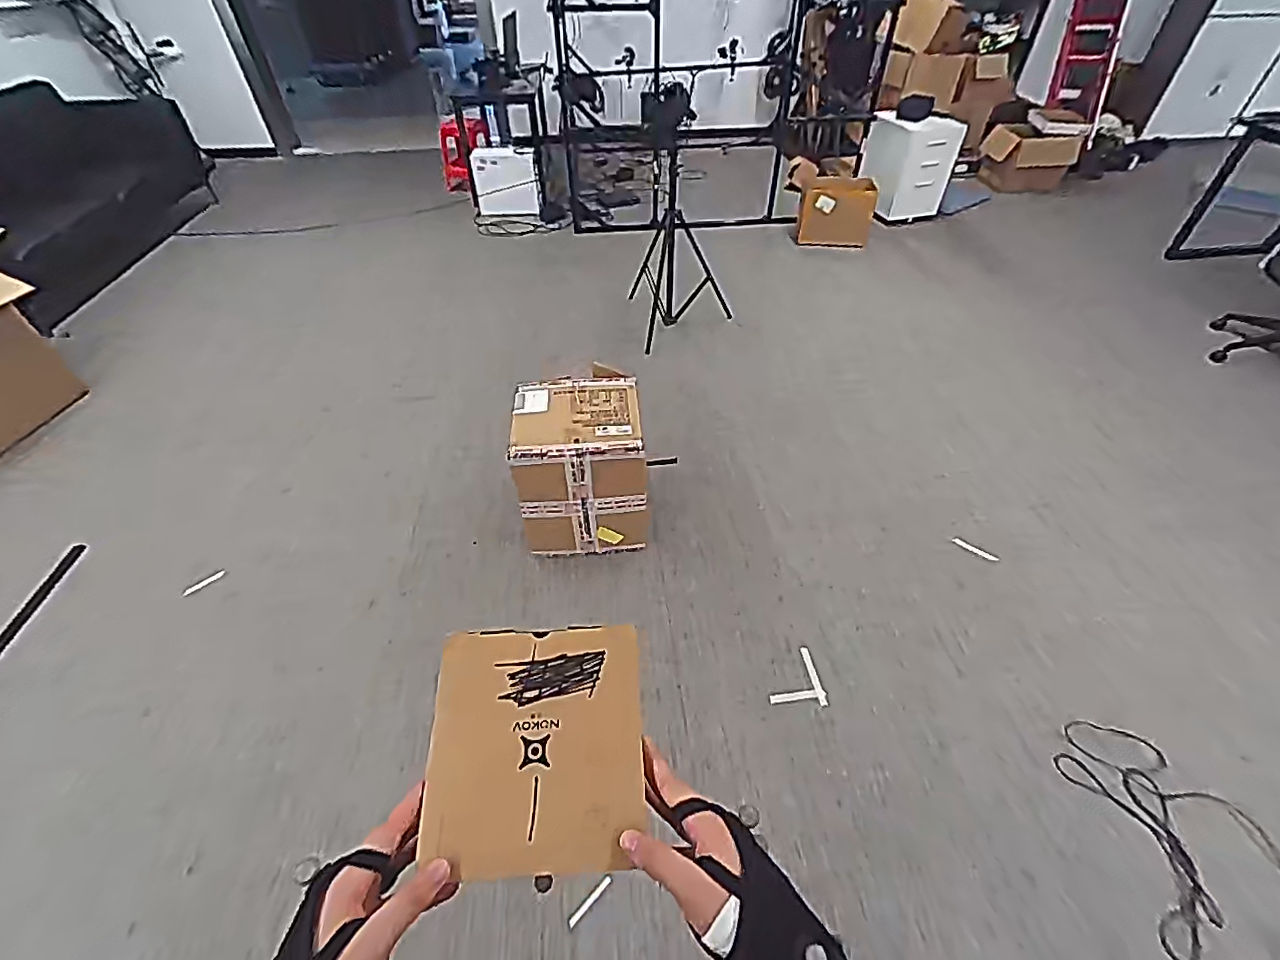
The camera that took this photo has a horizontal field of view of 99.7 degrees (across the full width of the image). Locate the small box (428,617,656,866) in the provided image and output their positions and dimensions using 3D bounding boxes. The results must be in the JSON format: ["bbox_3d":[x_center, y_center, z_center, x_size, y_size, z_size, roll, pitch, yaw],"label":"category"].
[{"bbox_3d":[-0.077,0.241,0.498,0.168,0.176,0.179,-3,57,-3],"label":"small box"}]
